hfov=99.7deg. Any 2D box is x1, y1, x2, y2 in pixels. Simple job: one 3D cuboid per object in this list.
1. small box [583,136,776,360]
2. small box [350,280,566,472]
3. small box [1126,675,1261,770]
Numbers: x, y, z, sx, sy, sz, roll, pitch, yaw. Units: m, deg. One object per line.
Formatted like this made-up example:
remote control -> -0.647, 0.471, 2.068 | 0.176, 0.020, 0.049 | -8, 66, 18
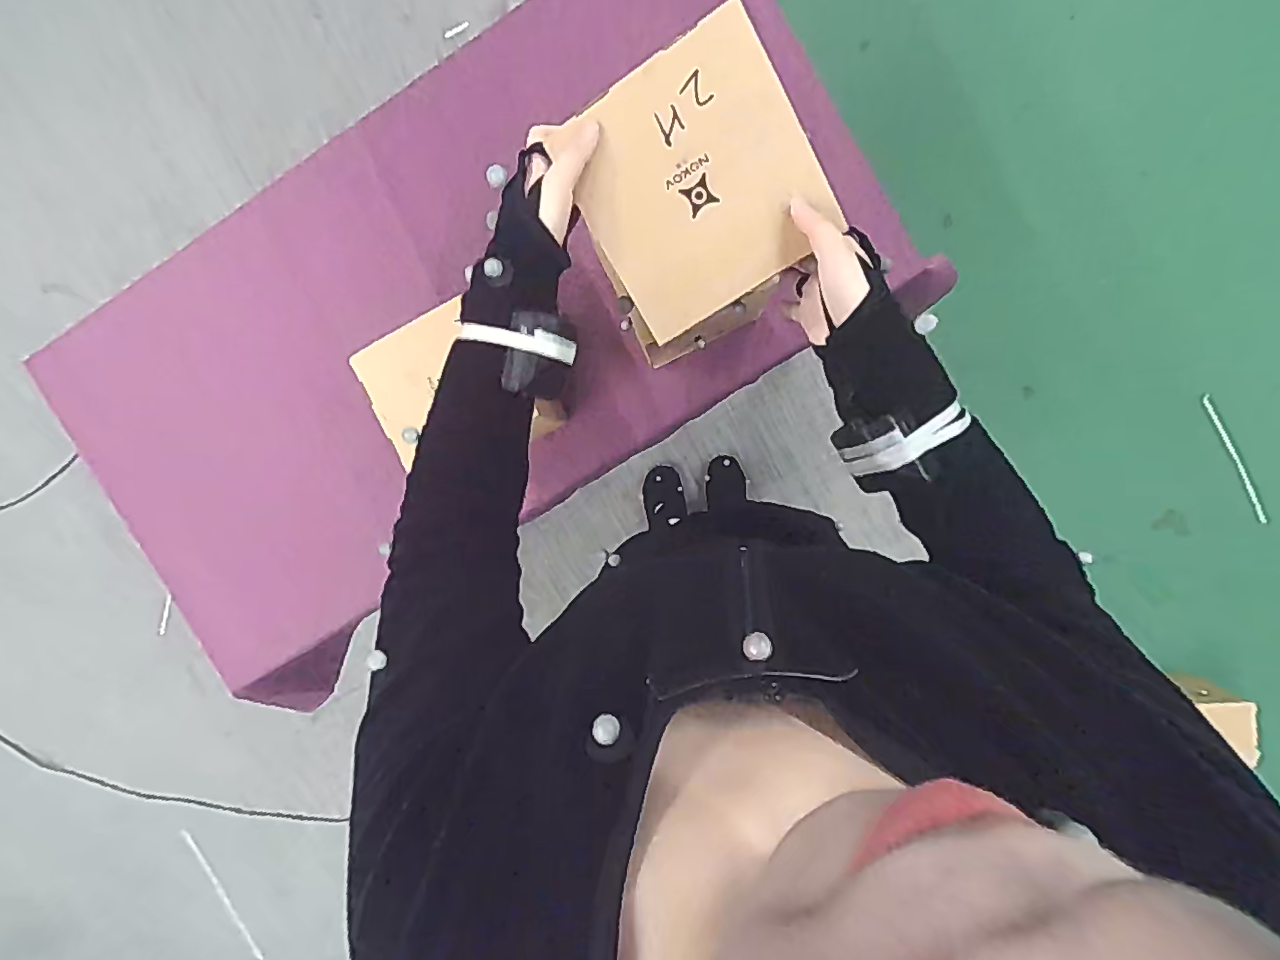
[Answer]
small box -> 0.047, -0.271, 0.679 | 0.168, 0.176, 0.179 | -26, 92, 5
small box -> -0.222, -0.121, 0.703 | 0.179, 0.176, 0.168 | -29, 90, 7
small box -> 1.392, 0.607, 1.369 | 0.179, 0.176, 0.168 | -4, 93, 4
